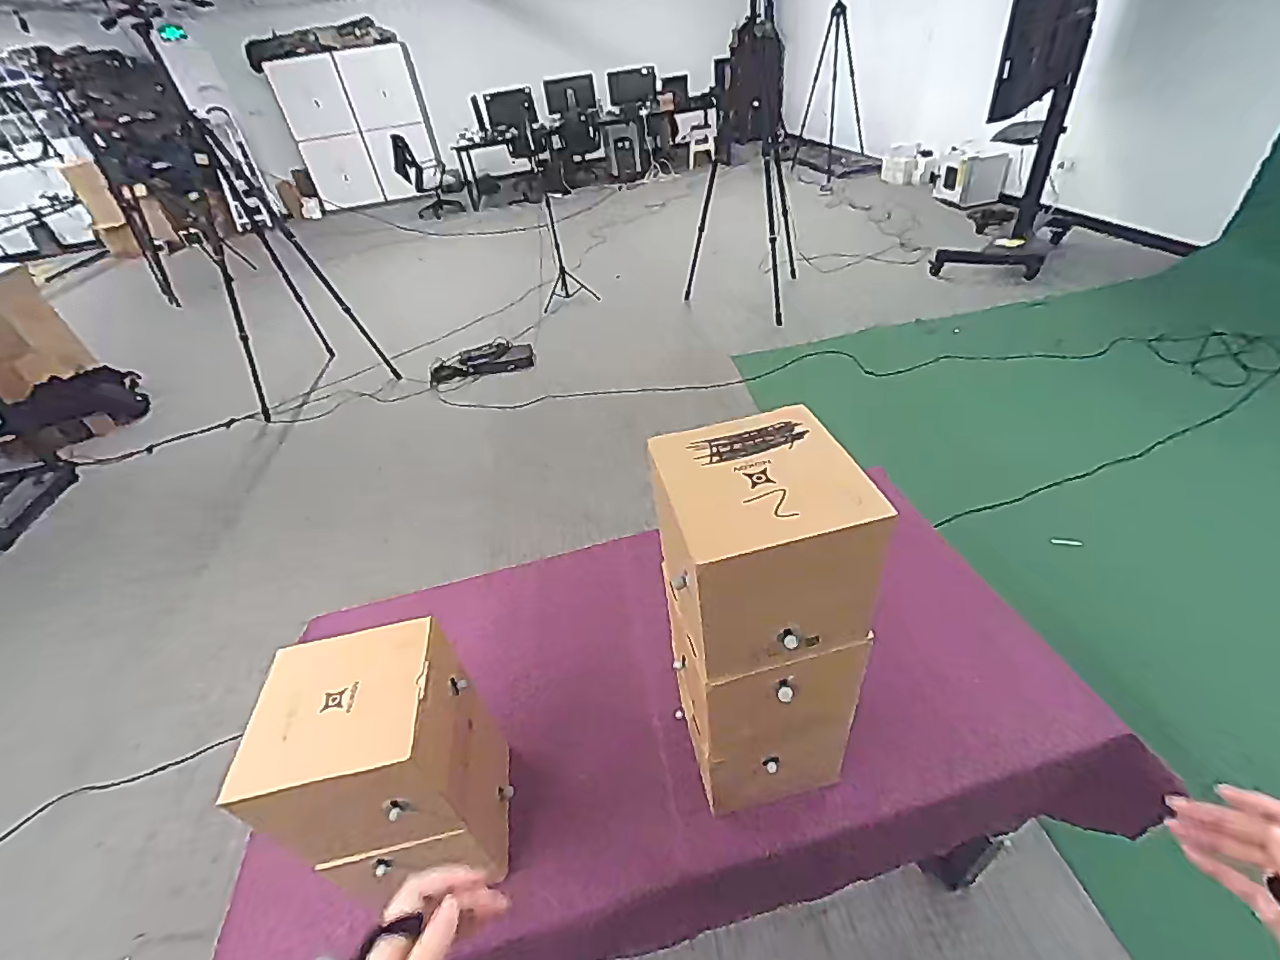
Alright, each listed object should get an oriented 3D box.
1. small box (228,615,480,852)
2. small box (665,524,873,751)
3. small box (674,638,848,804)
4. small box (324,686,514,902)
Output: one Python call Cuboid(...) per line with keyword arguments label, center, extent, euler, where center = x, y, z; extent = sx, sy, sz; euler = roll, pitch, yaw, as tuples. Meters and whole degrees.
Cuboid(label="small box", center=(-0.289, 0.280, 0.601), extent=(0.179, 0.176, 0.168), euler=(-12, 39, -2))
Cuboid(label="small box", center=(0.139, 0.183, 0.629), extent=(0.179, 0.176, 0.168), euler=(-15, 40, -4))
Cuboid(label="small box", center=(0.156, 0.308, 0.732), extent=(0.179, 0.176, 0.168), euler=(-13, 39, -4))
Cuboid(label="small box", center=(-0.268, 0.406, 0.704), extent=(0.168, 0.176, 0.179), euler=(-13, 39, -3))
